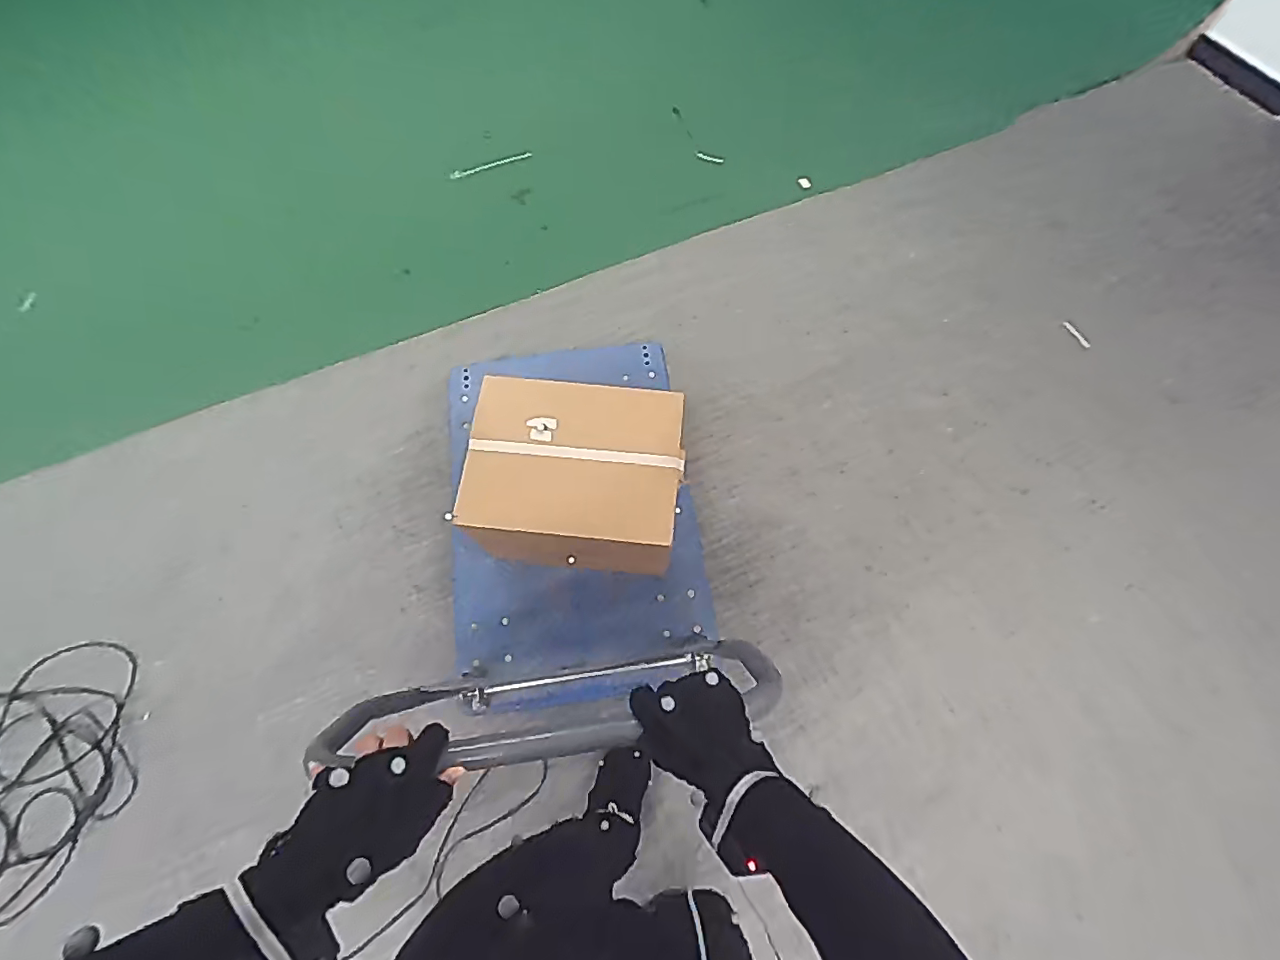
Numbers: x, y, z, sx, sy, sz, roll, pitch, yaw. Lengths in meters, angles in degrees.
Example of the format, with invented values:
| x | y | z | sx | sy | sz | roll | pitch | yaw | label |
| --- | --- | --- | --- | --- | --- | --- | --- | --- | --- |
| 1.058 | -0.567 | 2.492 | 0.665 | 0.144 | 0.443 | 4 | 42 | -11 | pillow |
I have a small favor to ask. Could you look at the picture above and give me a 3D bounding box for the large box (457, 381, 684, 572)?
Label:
| x | y | z | sx | sy | sz | roll | pitch | yaw | label |
| --- | --- | --- | --- | --- | --- | --- | --- | --- | --- |
| -0.119 | 0.009 | 1.163 | 0.408 | 0.320 | 0.320 | 6 | 70 | 3 | large box |
